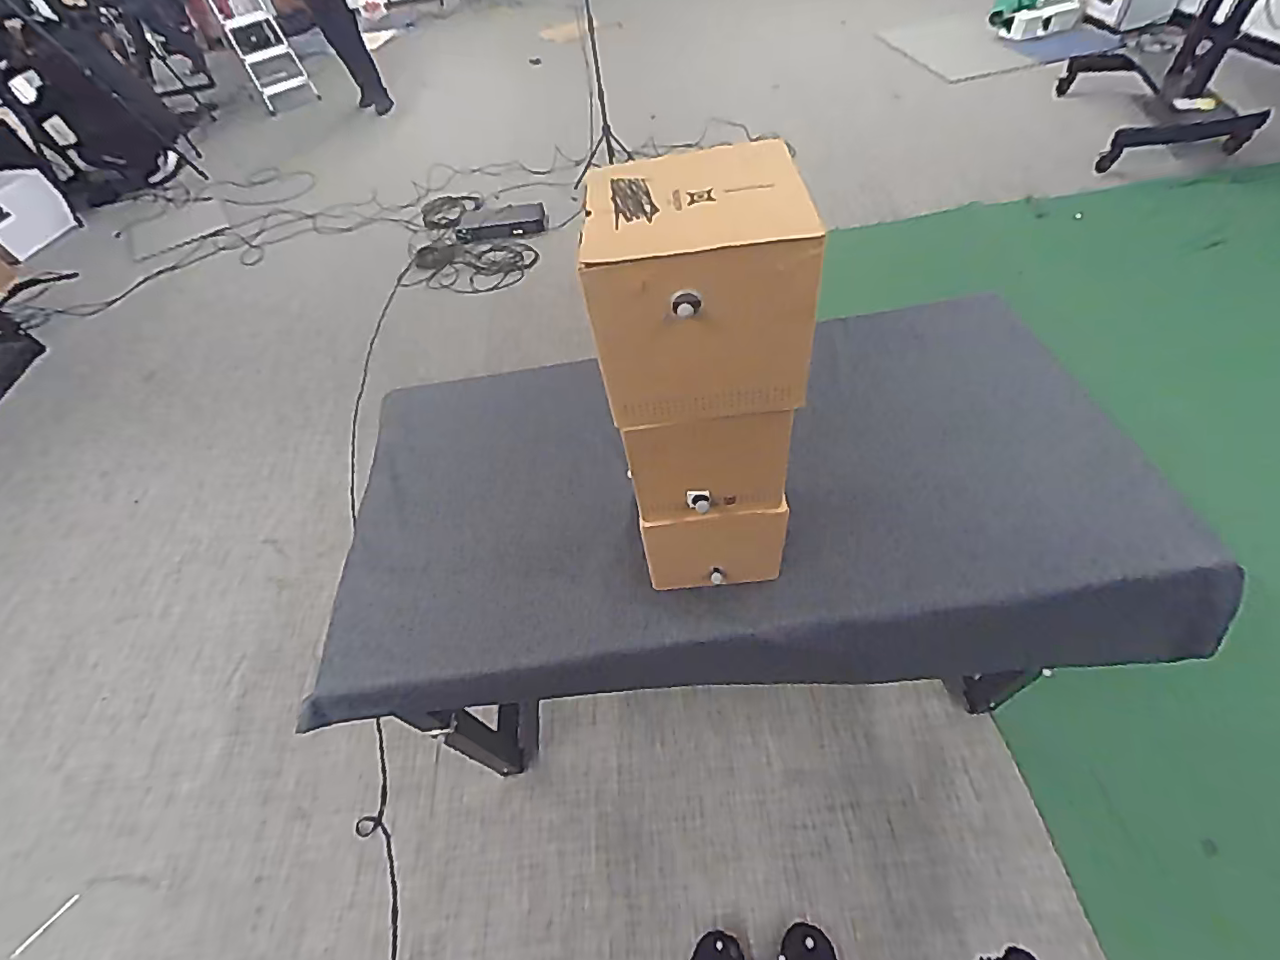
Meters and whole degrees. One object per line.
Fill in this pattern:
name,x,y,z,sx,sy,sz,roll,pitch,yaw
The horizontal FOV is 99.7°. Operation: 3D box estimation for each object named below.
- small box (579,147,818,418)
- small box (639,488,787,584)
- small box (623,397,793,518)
small box,0.051,-0.172,0.497,0.179,0.176,0.168,-5,52,5
small box,0.091,0.029,0.750,0.179,0.176,0.168,-6,51,3
small box,0.070,-0.078,0.629,0.168,0.176,0.179,-8,53,4
